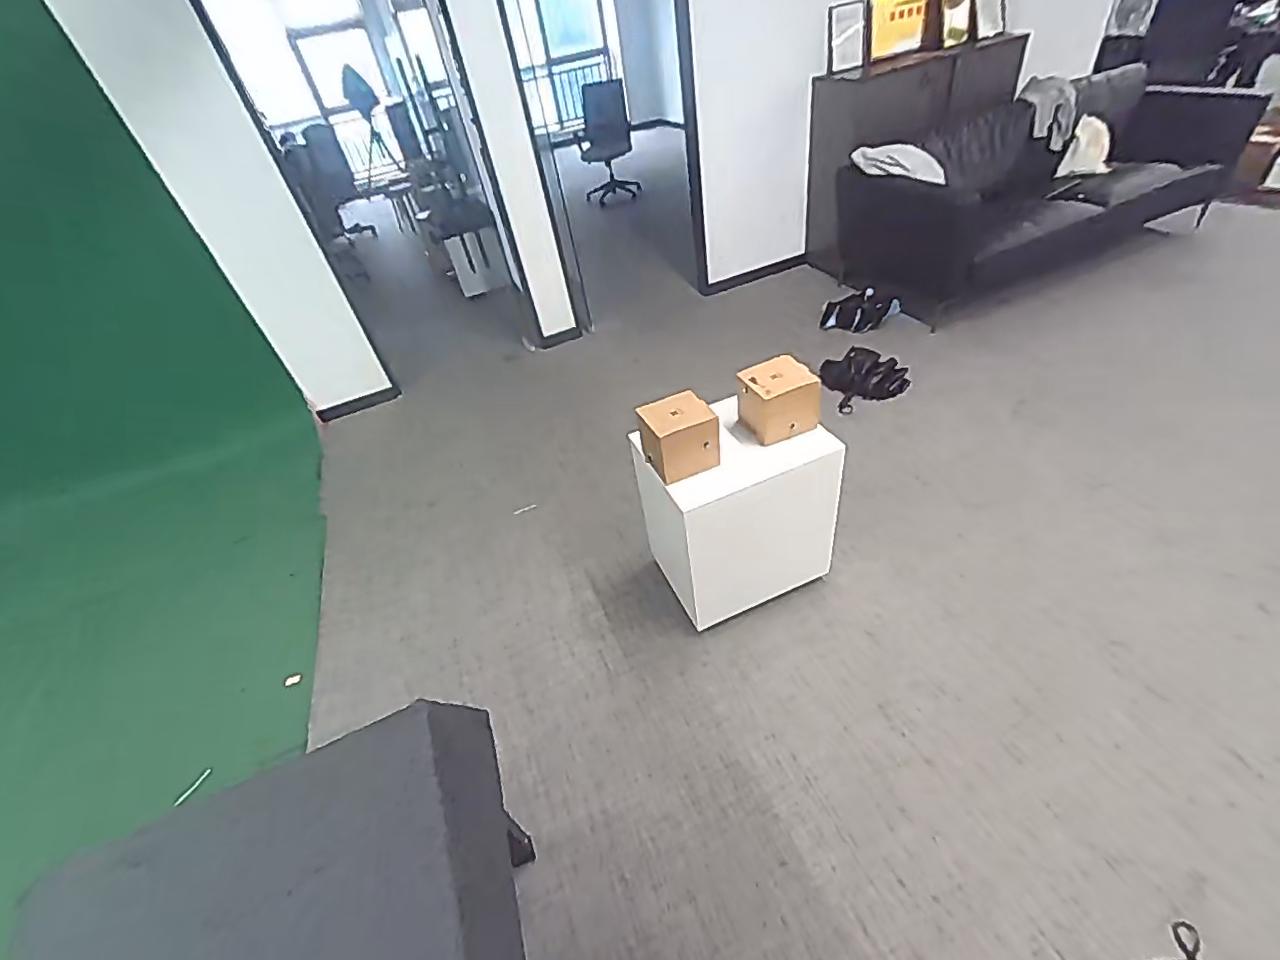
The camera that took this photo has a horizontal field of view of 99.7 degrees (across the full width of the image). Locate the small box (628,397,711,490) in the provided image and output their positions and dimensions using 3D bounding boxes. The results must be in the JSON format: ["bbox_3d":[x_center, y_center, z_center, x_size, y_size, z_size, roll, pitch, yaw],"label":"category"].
[{"bbox_3d":[0.083,-0.101,1.494,0.179,0.176,0.168,-21,40,-16],"label":"small box"}]

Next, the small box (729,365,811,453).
[{"bbox_3d":[0.368,-0.205,1.569,0.179,0.176,0.168,-19,41,-13],"label":"small box"}]
